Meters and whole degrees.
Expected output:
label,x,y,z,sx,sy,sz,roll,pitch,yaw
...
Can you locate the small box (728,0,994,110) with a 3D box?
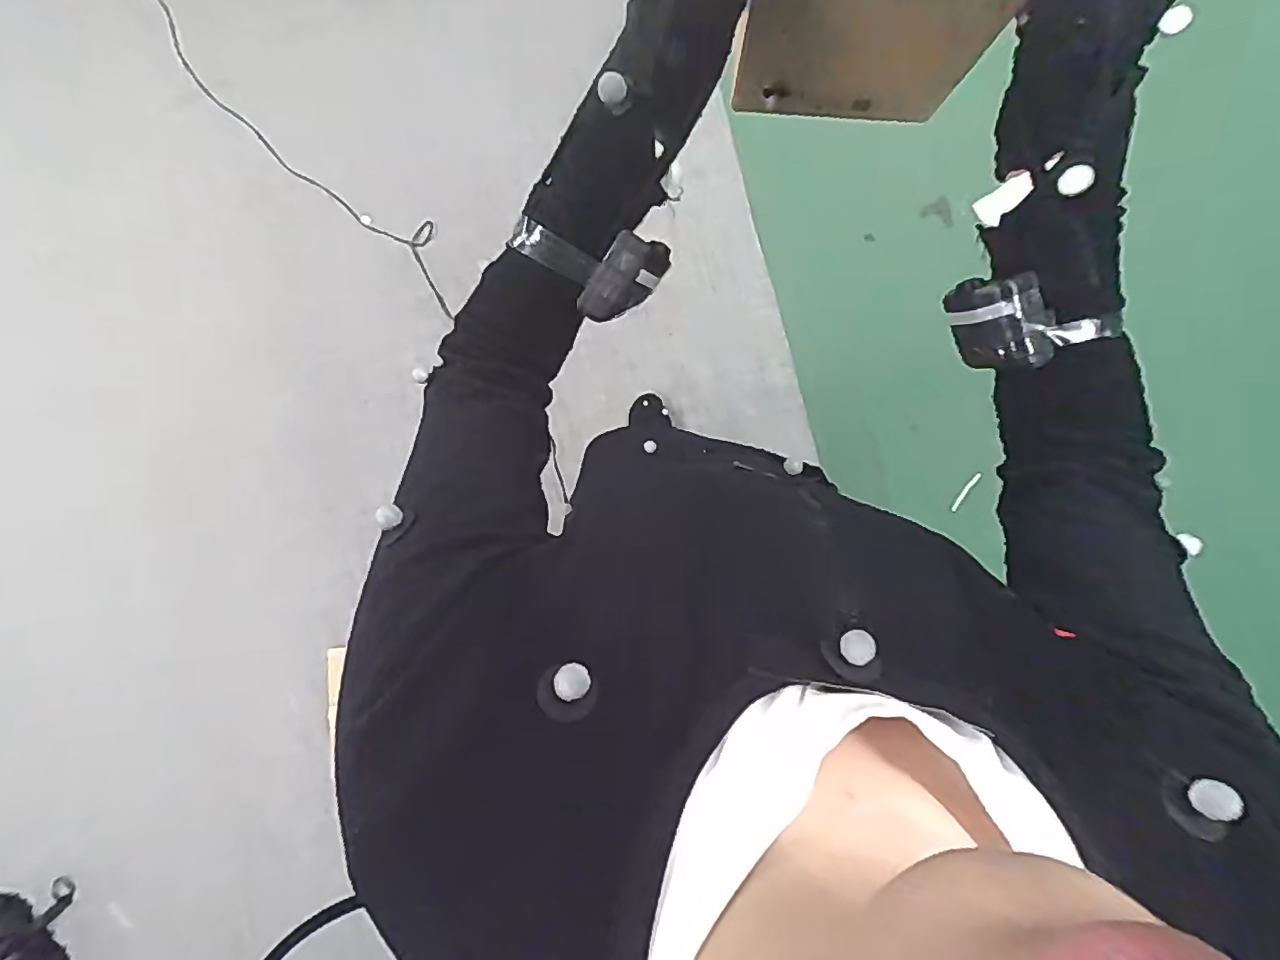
label,x,y,z,sx,sy,sz,roll,pitch,yaw
small box,0.154,-0.386,0.363,0.168,0.176,0.179,5,94,2
